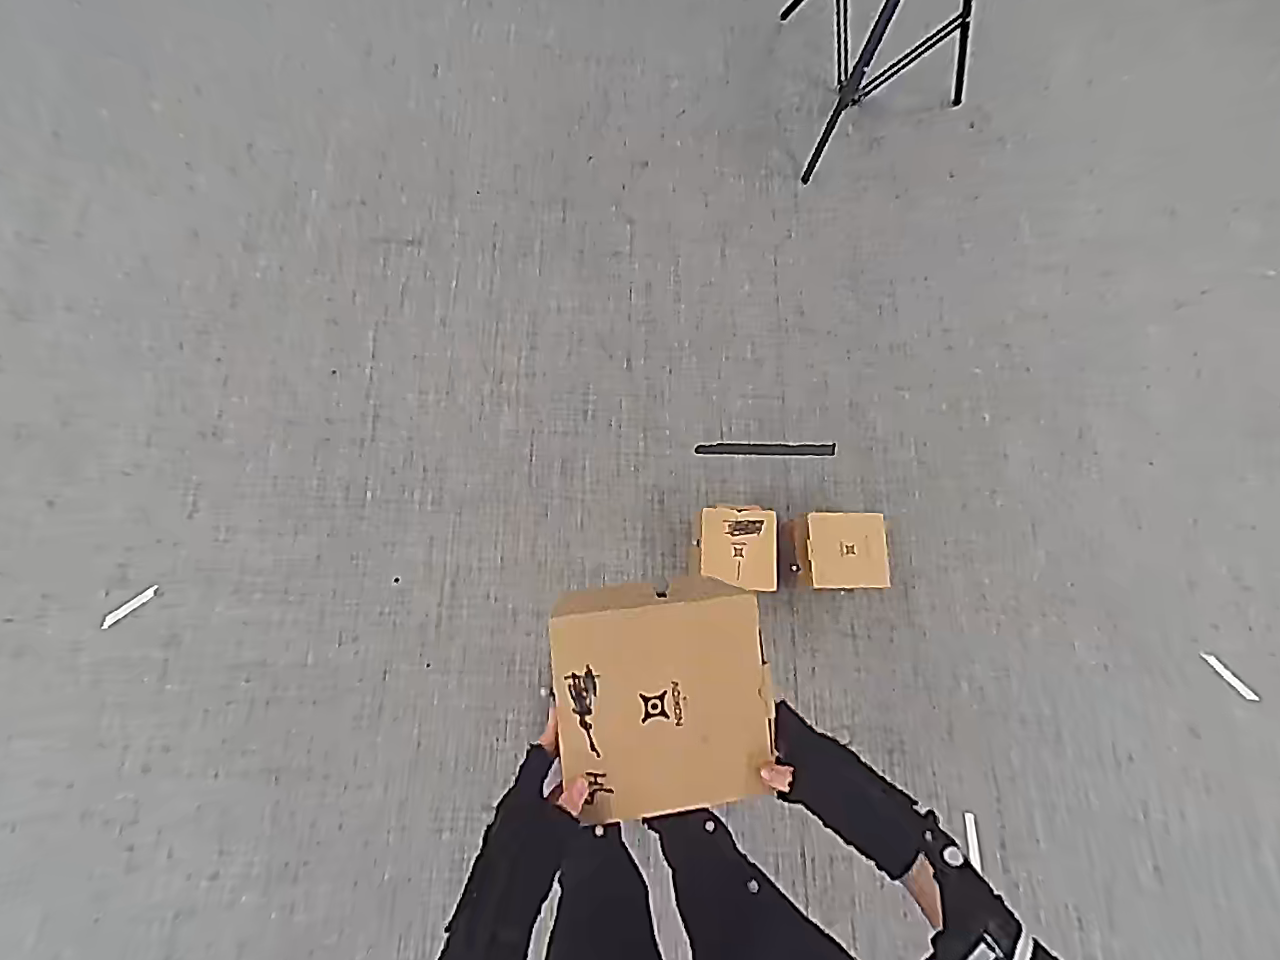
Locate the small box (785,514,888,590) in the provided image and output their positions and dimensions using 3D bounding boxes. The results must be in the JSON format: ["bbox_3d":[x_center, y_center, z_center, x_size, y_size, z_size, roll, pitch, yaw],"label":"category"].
[{"bbox_3d":[0.445,0.172,1.256,0.179,0.176,0.168,0,79,-4],"label":"small box"}]

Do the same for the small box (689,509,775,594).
[{"bbox_3d":[0.207,0.169,1.243,0.168,0.176,0.179,3,78,-2],"label":"small box"}]

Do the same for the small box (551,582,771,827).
[{"bbox_3d":[0.007,0.196,0.526,0.179,0.176,0.168,-5,85,-8],"label":"small box"}]
